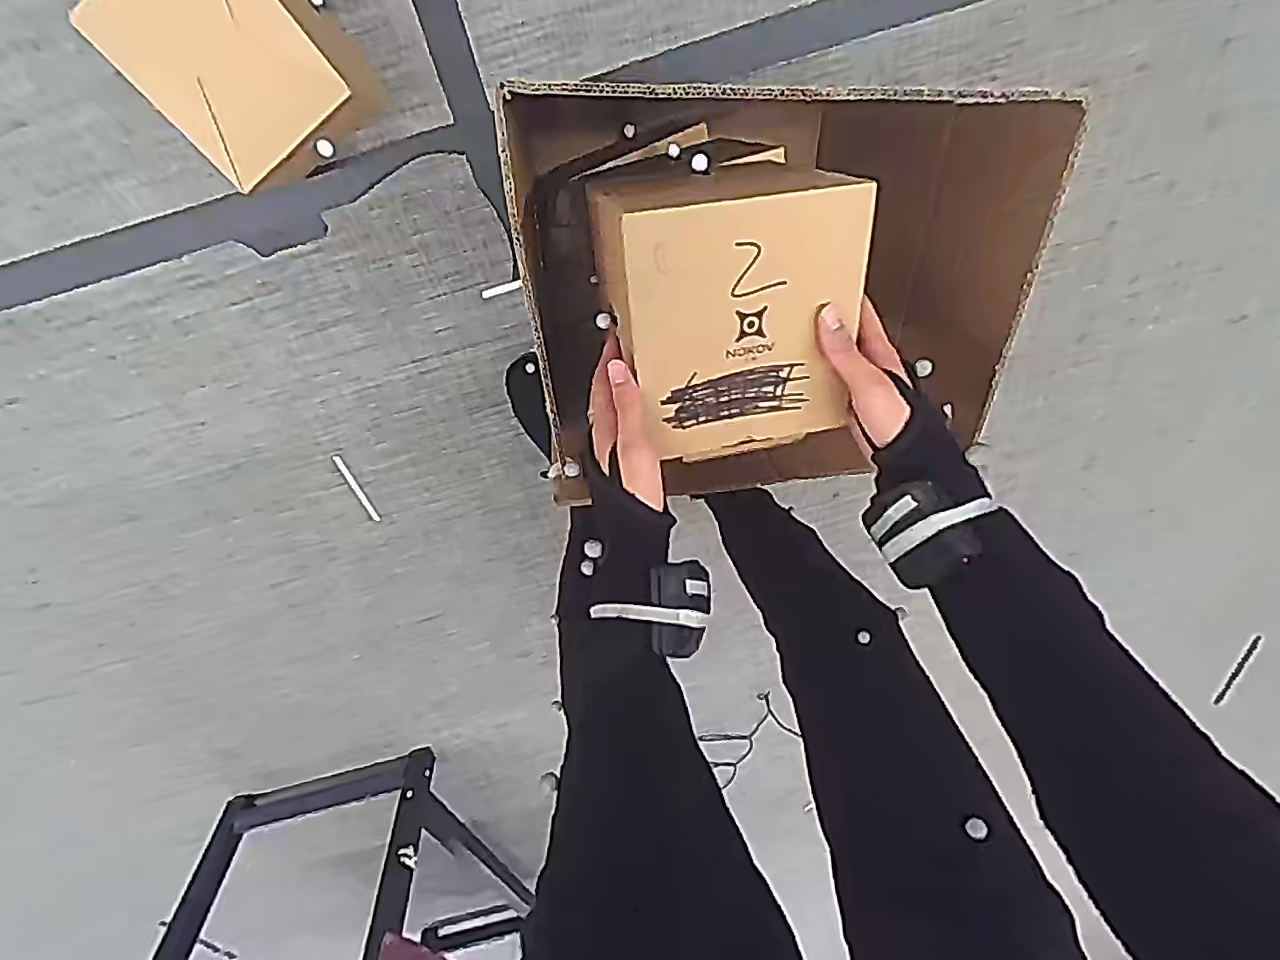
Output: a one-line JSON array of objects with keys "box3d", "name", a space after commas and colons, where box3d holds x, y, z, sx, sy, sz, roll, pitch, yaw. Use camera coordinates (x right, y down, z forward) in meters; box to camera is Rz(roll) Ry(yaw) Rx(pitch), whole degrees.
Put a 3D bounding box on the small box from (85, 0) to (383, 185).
[{"box3d": [-0.416, -0.448, 0.574, 0.168, 0.176, 0.179, -32, 122, 13], "name": "small box"}]
